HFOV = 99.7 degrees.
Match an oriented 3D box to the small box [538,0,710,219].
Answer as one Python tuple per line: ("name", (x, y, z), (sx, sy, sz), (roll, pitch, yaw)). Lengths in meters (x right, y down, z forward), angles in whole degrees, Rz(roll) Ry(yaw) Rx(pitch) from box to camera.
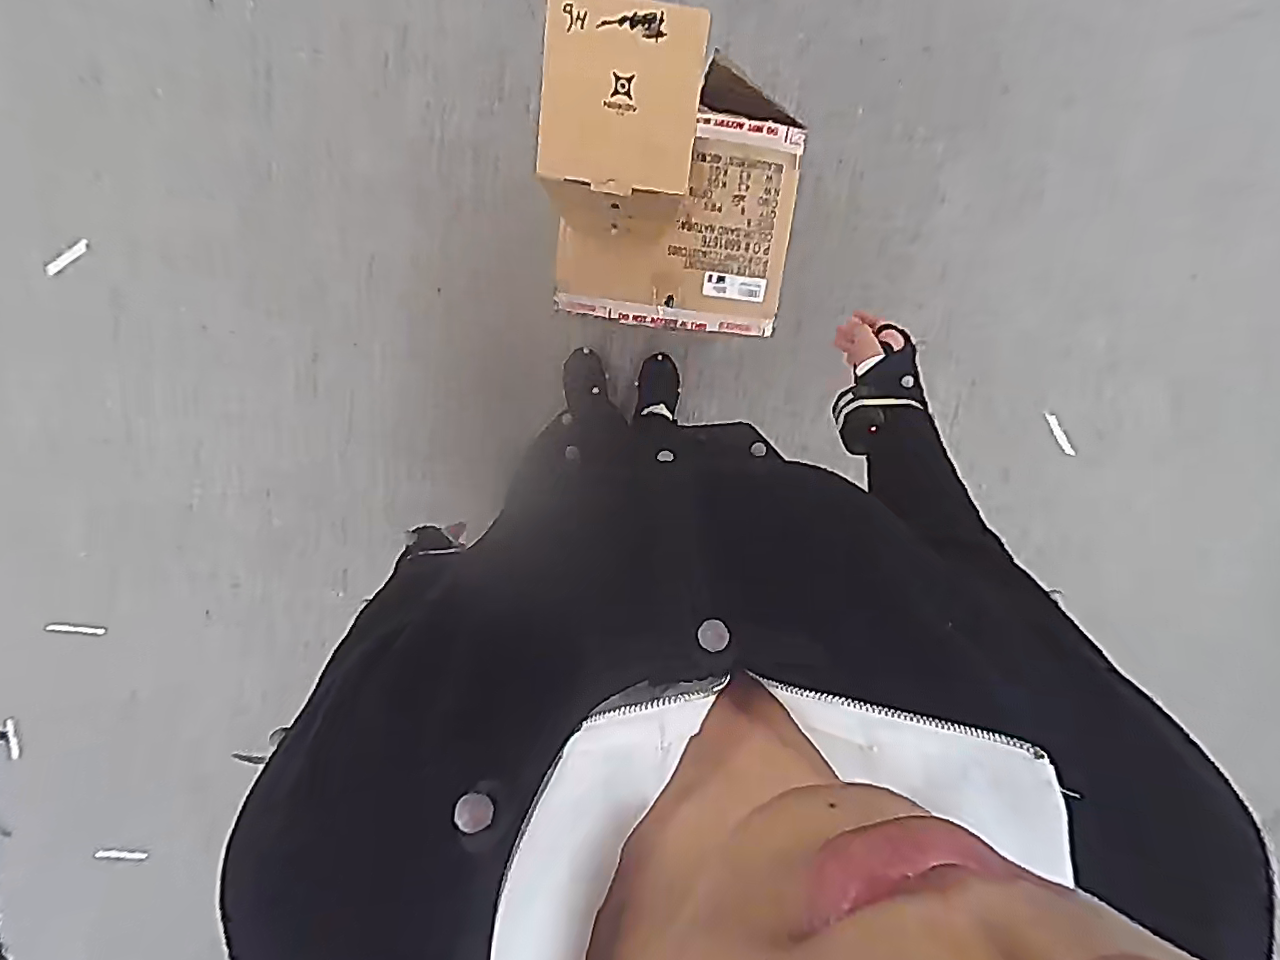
("small box", (-0.019, -0.422, 0.641), (0.168, 0.176, 0.179), (7, 107, -2))

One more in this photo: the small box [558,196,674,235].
("small box", (-0.025, -0.476, 0.796), (0.168, 0.176, 0.179), (5, 106, -1))
